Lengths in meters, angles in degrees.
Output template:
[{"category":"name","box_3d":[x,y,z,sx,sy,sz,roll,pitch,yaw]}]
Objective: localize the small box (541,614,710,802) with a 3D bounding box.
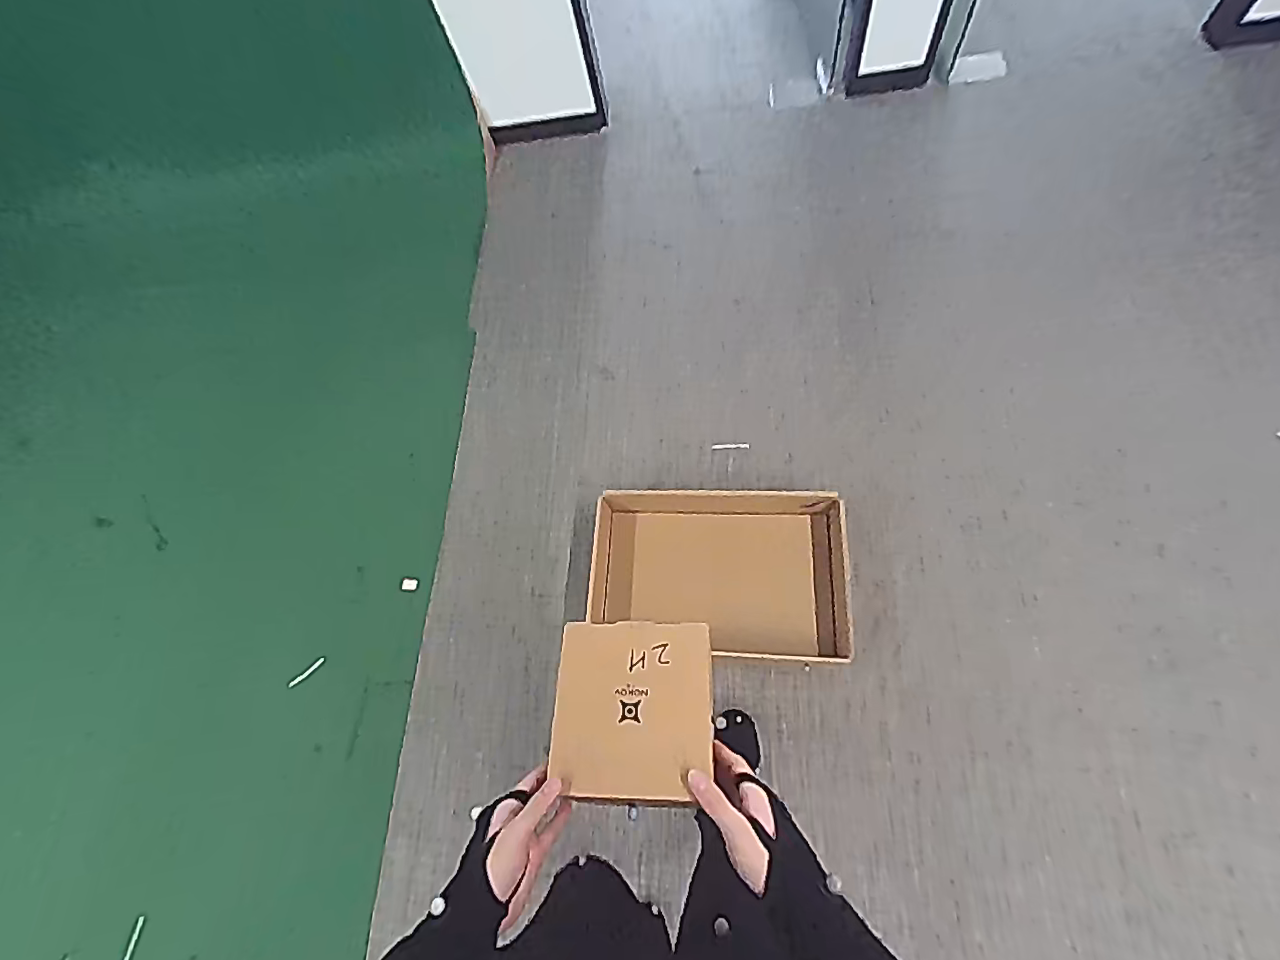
[{"category":"small box","box_3d":[-0.003,0.269,0.630,0.168,0.176,0.179,-1,56,7]}]
